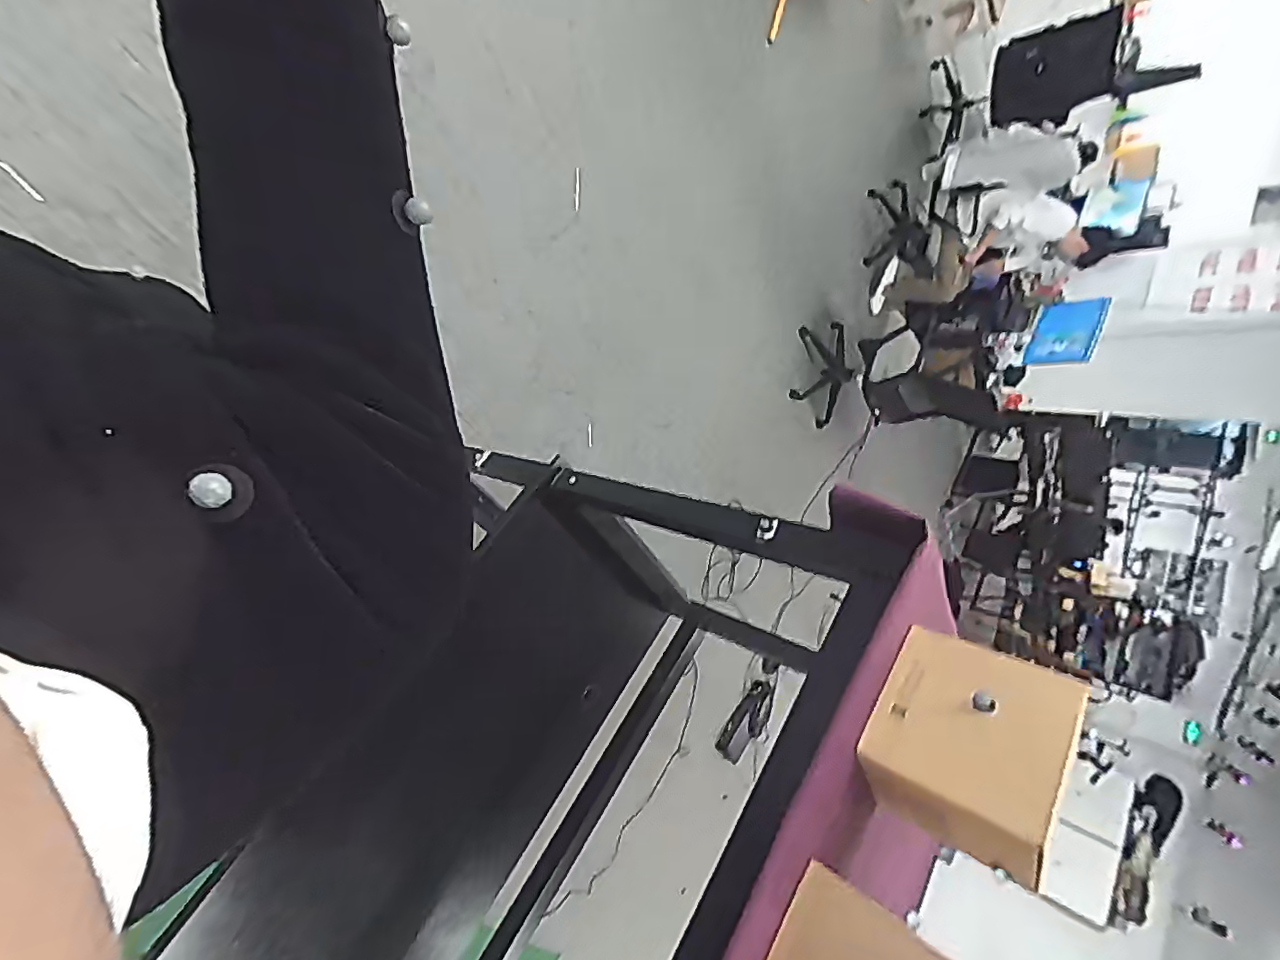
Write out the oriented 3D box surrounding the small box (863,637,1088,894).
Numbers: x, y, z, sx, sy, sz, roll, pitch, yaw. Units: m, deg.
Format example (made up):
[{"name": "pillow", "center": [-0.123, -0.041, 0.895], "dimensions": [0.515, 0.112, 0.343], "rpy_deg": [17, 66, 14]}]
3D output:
[{"name": "small box", "center": [0.362, 0.296, 0.592], "dimensions": [0.168, 0.176, 0.179], "rpy_deg": [-51, 132, -24]}]
